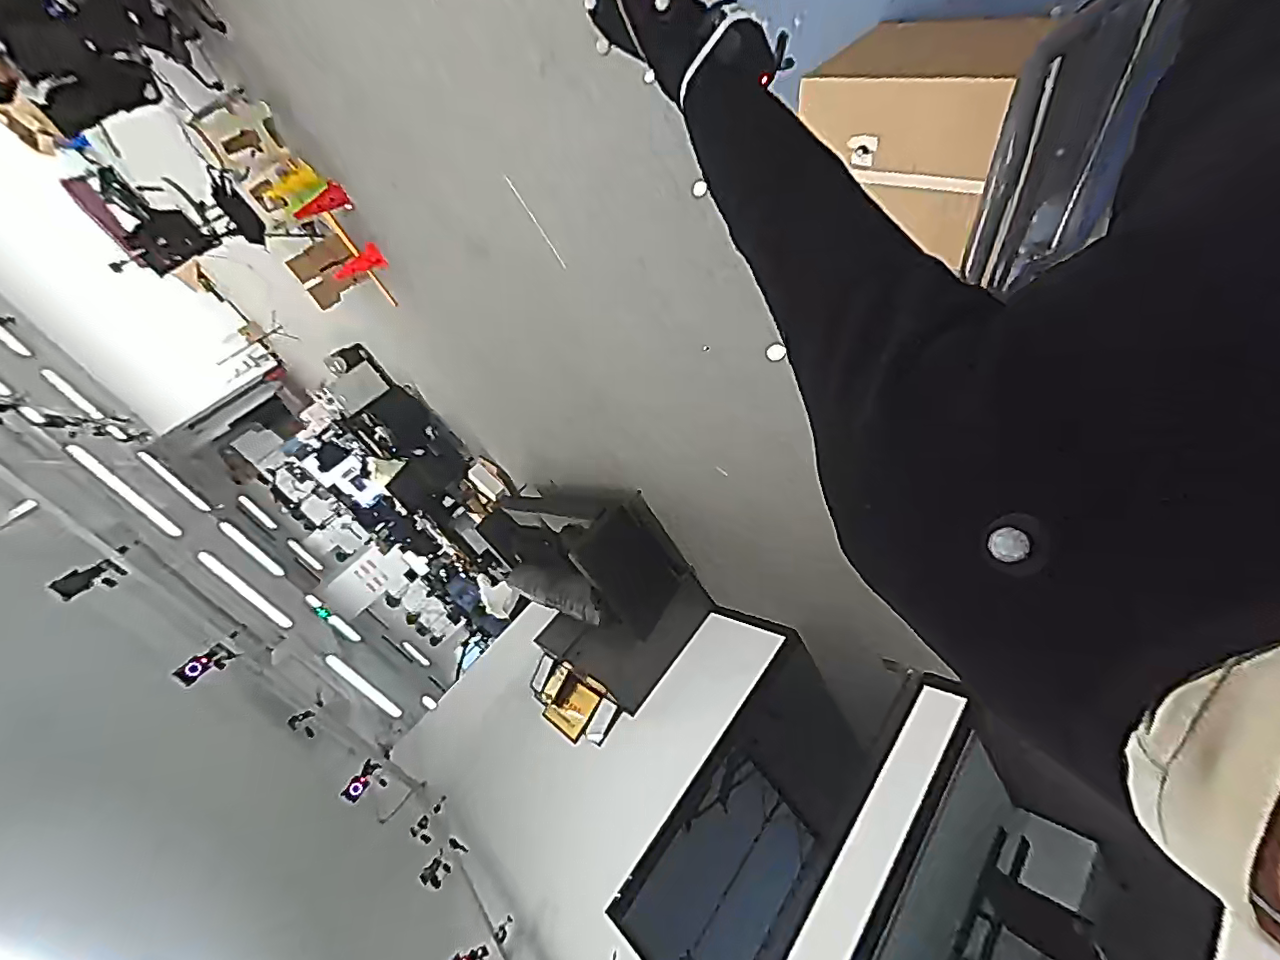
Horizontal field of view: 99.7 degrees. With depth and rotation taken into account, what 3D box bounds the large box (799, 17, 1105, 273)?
[{"bbox_3d":[0.573,-0.657,1.061,0.408,0.320,0.320,29,151,32],"label":"large box"}]
